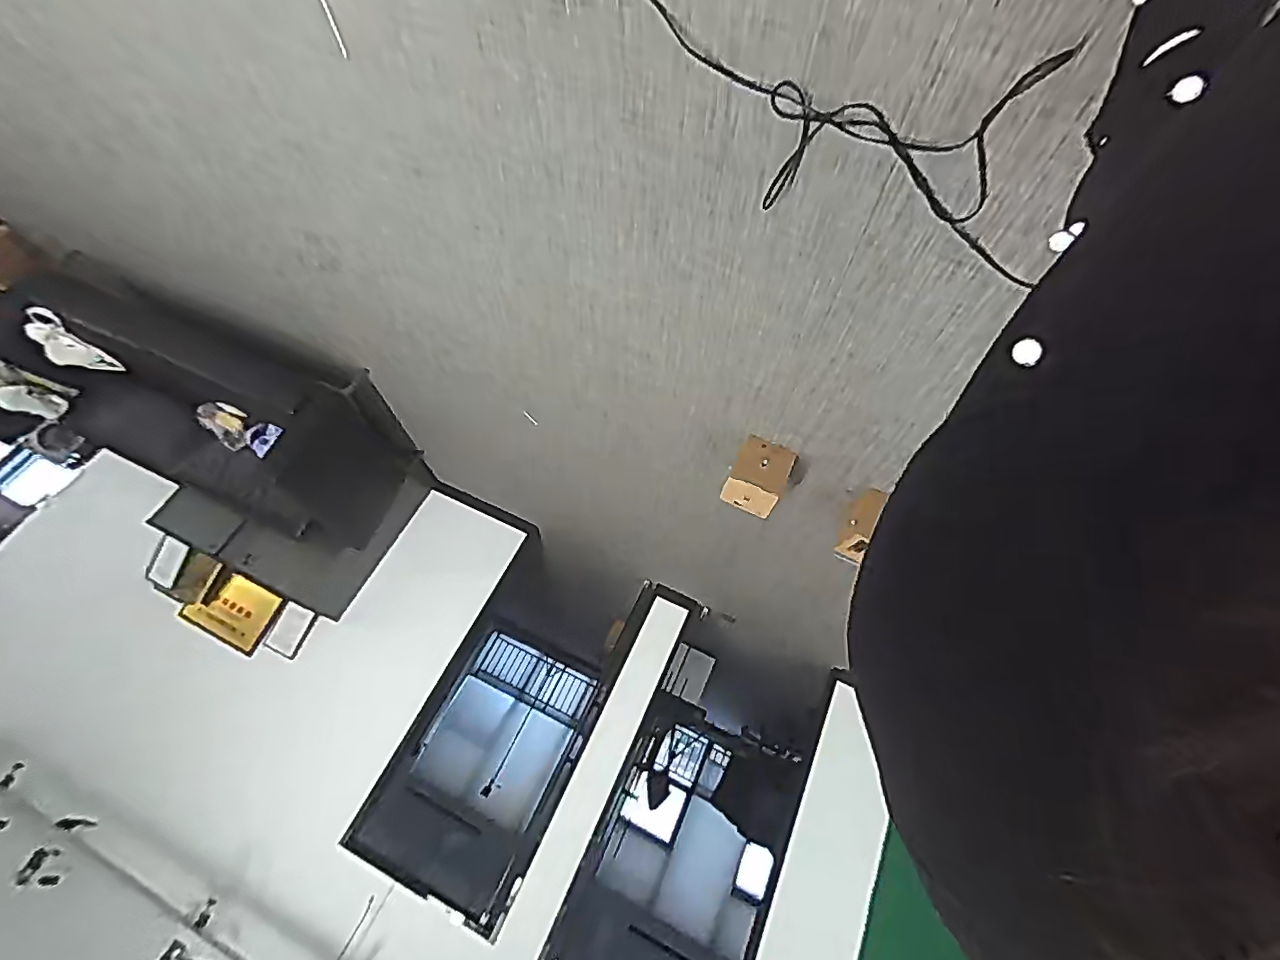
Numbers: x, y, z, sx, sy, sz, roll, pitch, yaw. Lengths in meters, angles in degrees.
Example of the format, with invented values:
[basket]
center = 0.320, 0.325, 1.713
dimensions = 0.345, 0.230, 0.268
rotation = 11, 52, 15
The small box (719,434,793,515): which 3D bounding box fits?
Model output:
[small box]
center = 0.374, -0.021, 1.736
dimensions = 0.168, 0.176, 0.179
rotation = 25, 155, 8
